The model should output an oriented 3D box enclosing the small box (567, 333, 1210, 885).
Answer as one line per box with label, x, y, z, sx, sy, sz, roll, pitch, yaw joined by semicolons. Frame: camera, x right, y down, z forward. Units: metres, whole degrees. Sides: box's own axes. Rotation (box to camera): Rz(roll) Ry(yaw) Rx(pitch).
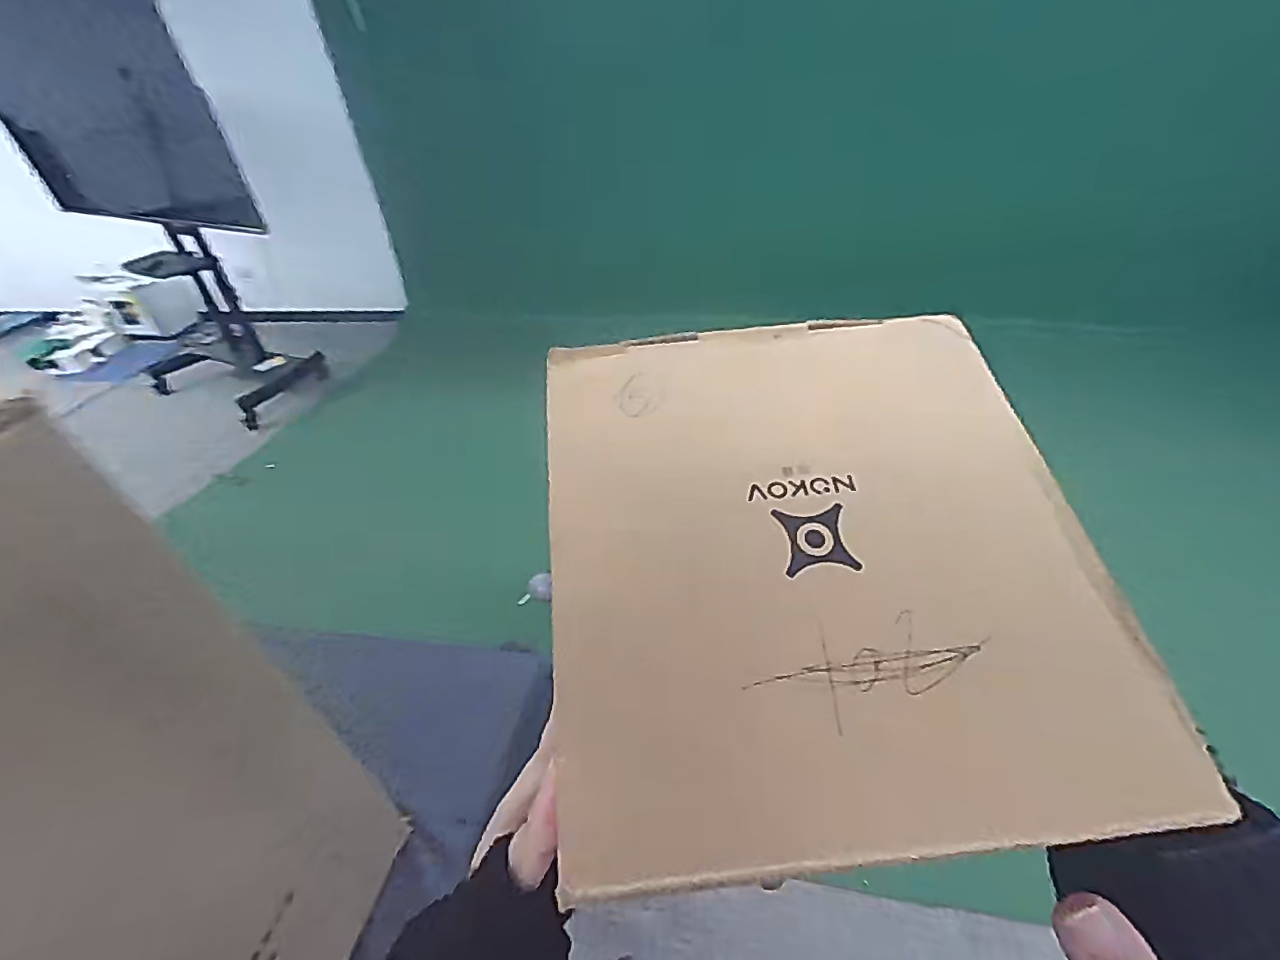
small box;0.059;0.060;0.246;0.168;0.176;0.179;-5;60;-1
